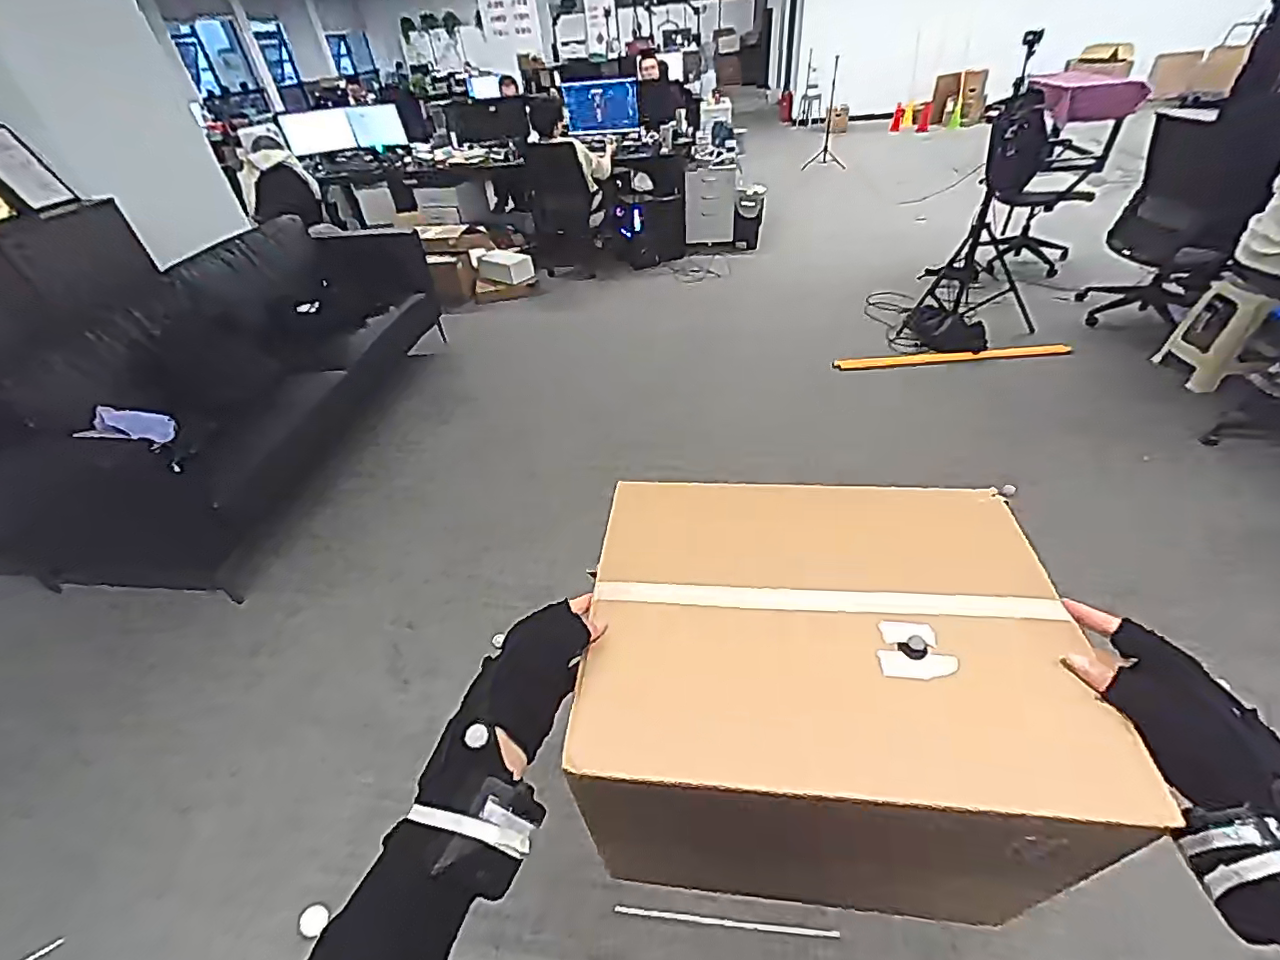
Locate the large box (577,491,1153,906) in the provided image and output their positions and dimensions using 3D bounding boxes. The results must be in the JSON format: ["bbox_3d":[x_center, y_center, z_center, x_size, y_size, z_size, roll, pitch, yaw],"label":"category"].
[{"bbox_3d":[0.171,0.225,0.589,0.408,0.320,0.320,1,43,7],"label":"large box"}]
